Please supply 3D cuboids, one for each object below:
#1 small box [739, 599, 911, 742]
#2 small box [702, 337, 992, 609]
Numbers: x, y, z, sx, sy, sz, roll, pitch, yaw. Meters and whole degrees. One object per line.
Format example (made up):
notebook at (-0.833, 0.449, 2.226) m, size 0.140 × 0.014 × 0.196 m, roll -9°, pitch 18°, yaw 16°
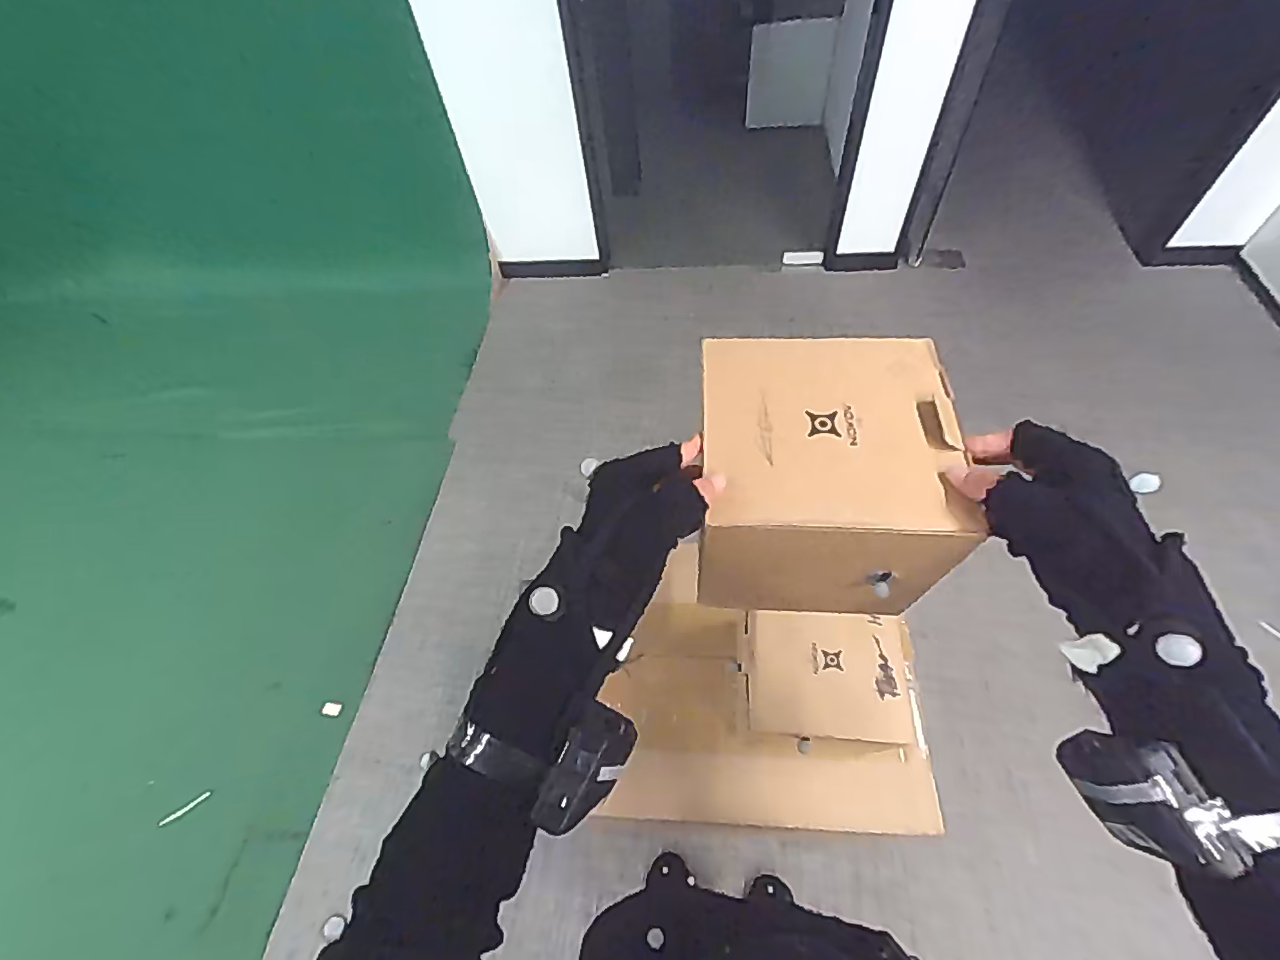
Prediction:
small box at (0.219, 0.236, 0.692) m, size 0.179 × 0.176 × 0.168 m, roll 2°, pitch 61°, yaw 7°
small box at (0.142, 0.001, 0.450) m, size 0.179 × 0.176 × 0.168 m, roll -1°, pitch 58°, yaw 5°
